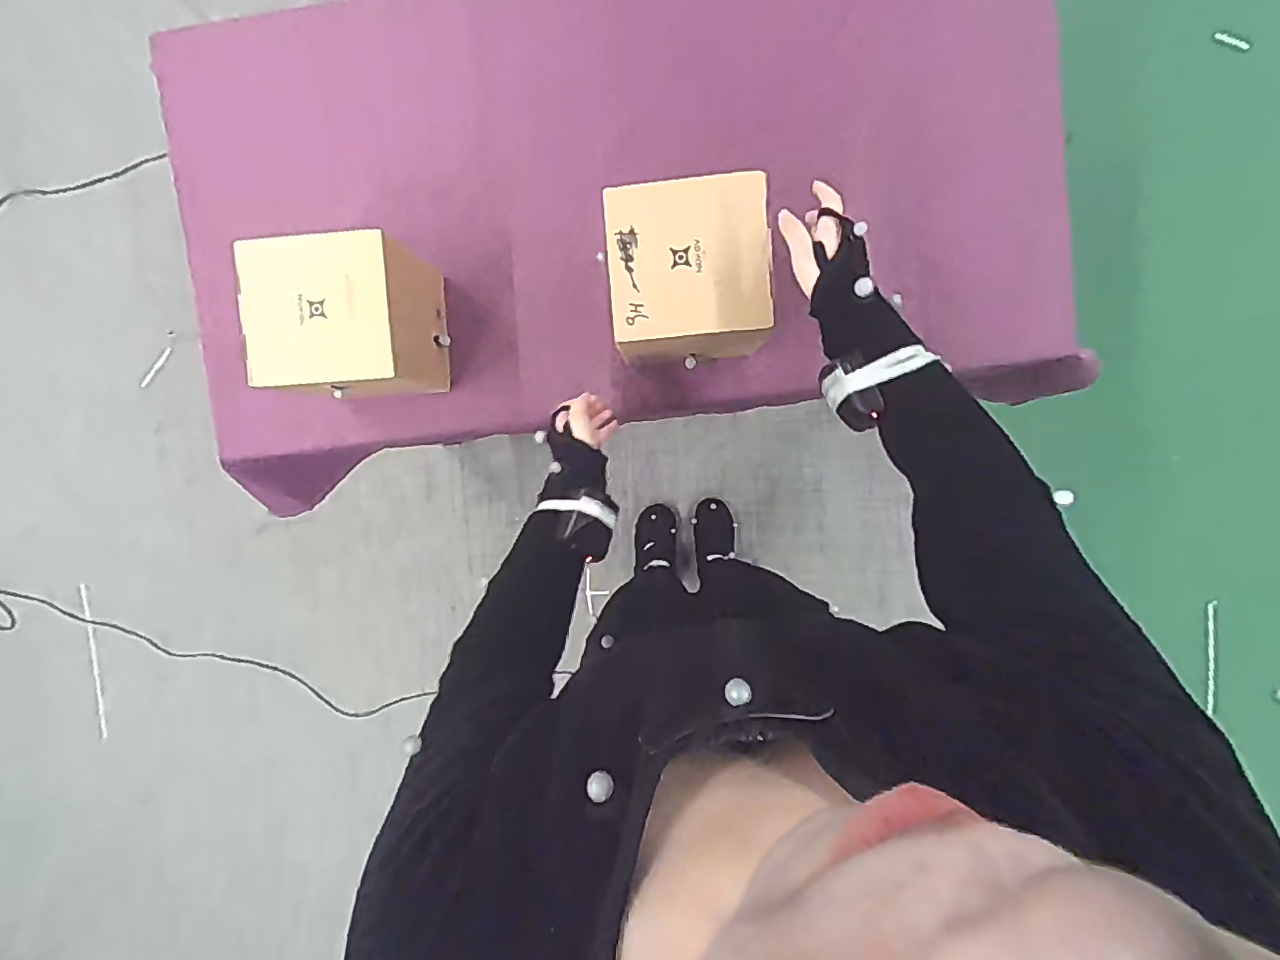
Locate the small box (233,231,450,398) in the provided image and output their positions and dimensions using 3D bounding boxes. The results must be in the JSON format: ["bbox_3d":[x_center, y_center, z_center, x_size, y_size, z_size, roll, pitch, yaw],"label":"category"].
[{"bbox_3d":[-0.364,-0.197,0.689,0.179,0.176,0.168,-3,94,3],"label":"small box"}]

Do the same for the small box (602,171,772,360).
[{"bbox_3d":[0.053,-0.246,0.660,0.179,0.176,0.168,-5,93,3],"label":"small box"}]
